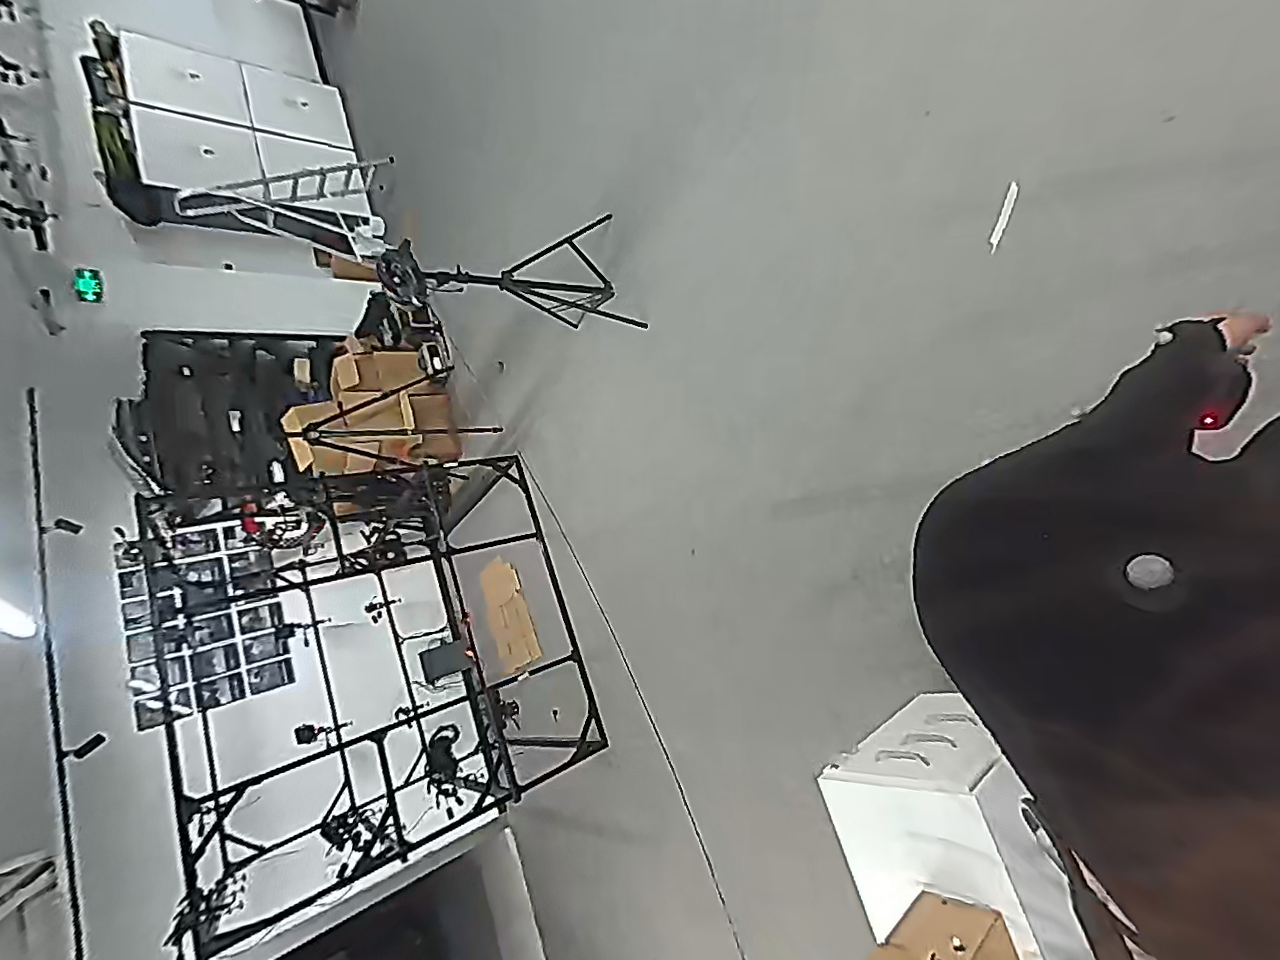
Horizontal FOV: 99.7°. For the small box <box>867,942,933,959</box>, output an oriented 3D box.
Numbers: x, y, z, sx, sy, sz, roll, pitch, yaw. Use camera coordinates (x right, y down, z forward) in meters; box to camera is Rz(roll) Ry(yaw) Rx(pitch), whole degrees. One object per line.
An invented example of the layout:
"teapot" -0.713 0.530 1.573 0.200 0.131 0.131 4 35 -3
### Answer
"small box" 0.489 0.979 0.959 0.179 0.176 0.168 -29 76 52
